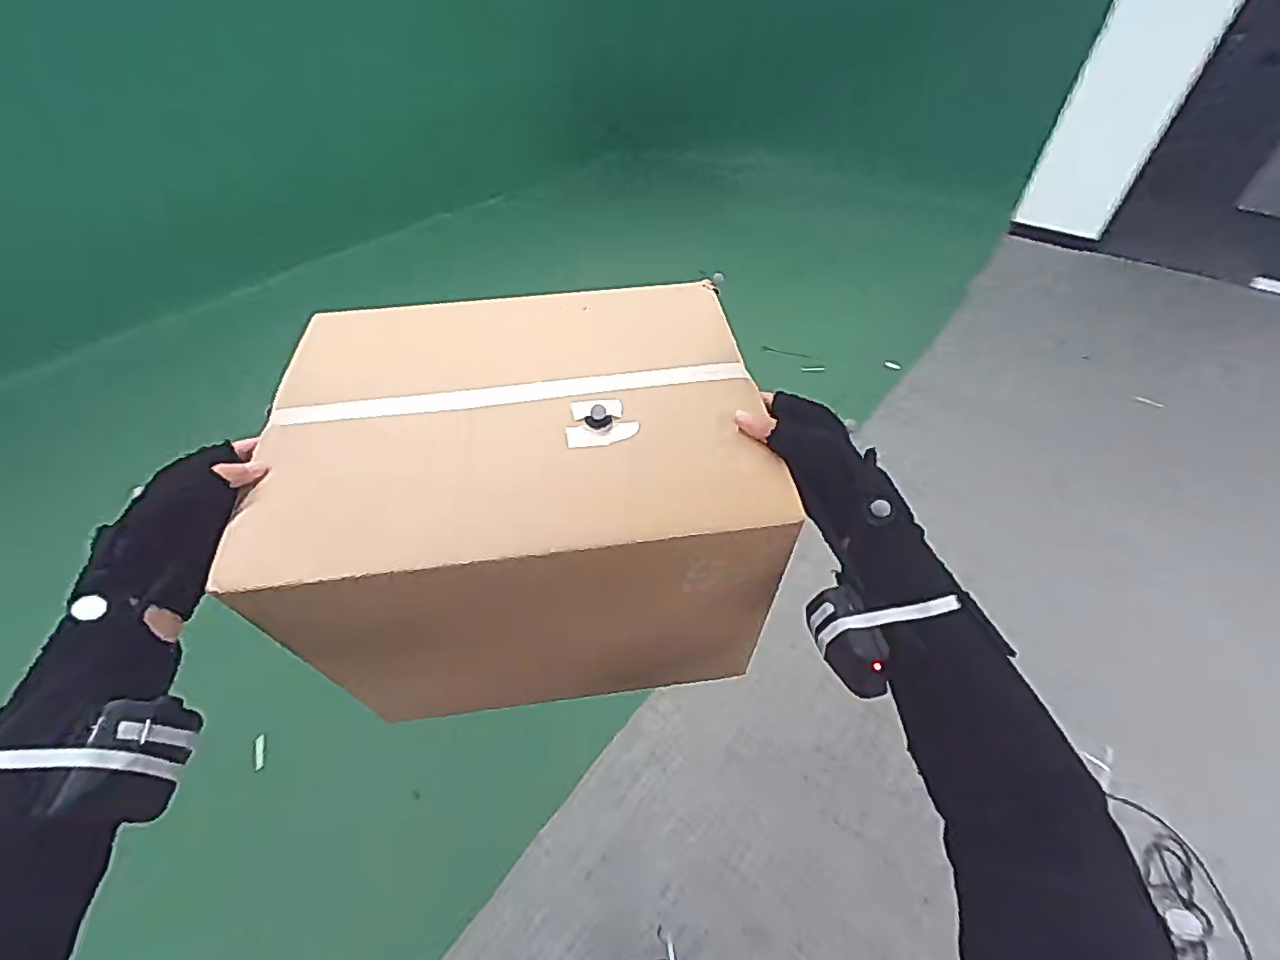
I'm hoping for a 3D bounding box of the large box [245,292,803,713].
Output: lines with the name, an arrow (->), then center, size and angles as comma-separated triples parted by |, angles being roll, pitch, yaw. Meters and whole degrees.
large box -> -0.094, 0.028, 0.589 | 0.408, 0.320, 0.320 | -6, 52, -4
